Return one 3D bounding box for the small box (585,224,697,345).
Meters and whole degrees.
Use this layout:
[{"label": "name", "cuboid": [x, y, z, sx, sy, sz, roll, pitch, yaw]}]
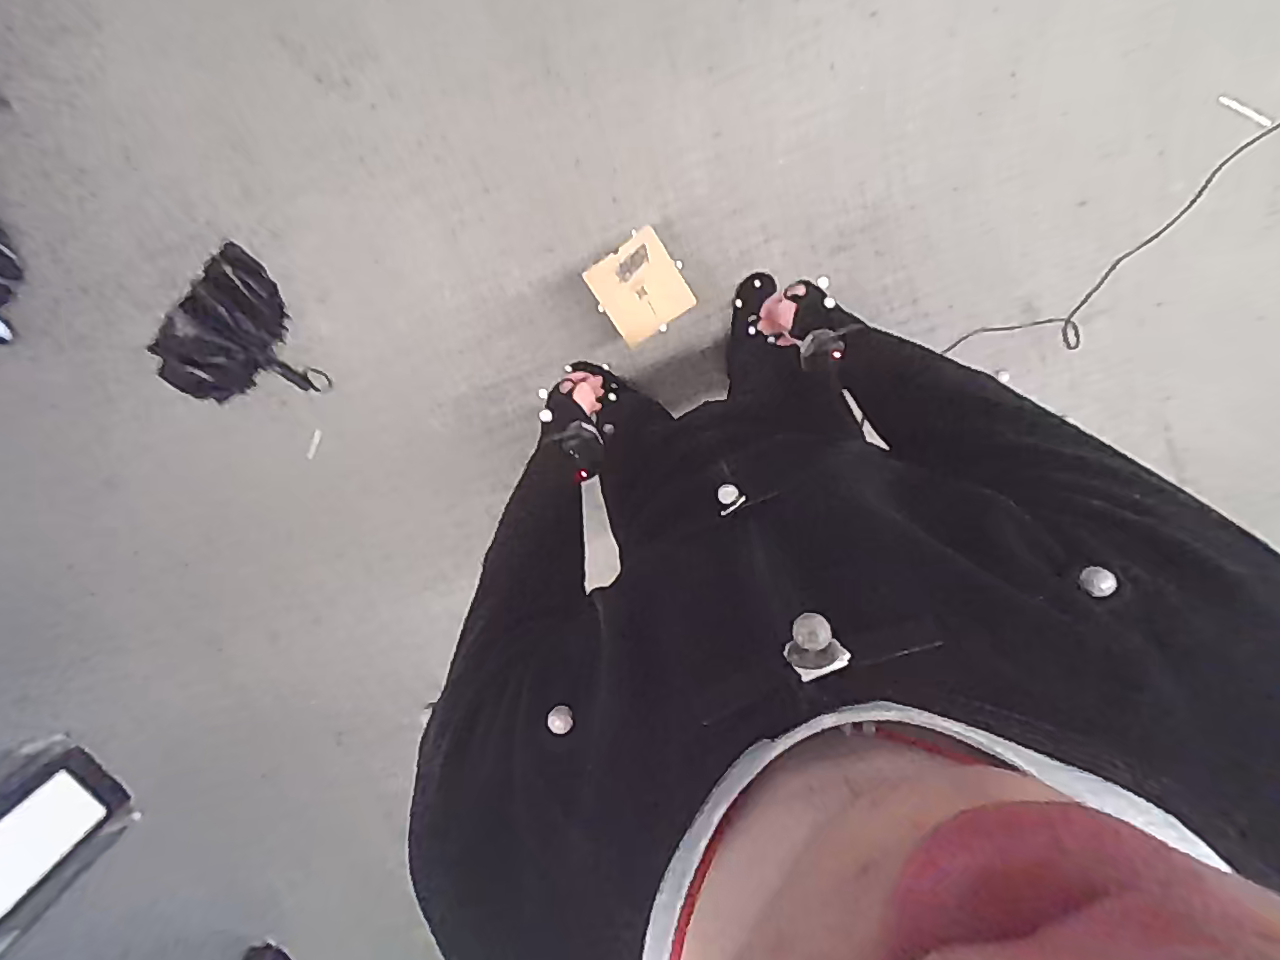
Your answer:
[{"label": "small box", "cuboid": [0.003, -0.414, 1.152, 0.168, 0.176, 0.179, -32, 108, 13]}]
